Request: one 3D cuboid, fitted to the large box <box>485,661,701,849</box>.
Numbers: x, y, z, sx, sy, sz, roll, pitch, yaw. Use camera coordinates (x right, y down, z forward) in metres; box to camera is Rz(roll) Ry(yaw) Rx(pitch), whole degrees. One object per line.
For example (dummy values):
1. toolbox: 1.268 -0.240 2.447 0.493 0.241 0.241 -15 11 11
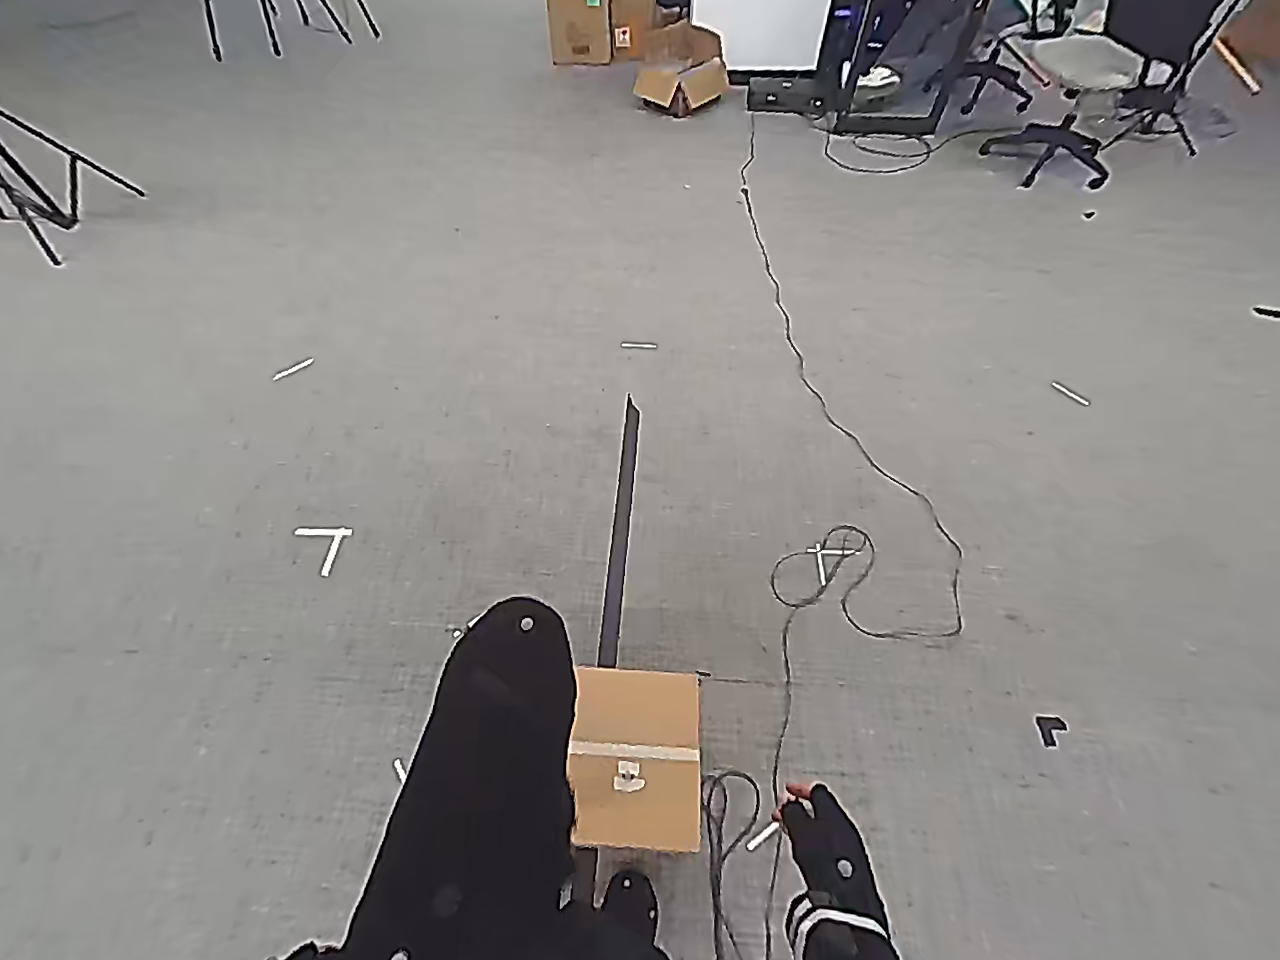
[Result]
1. large box: -0.083 0.610 1.188 0.408 0.320 0.320 3 55 2
